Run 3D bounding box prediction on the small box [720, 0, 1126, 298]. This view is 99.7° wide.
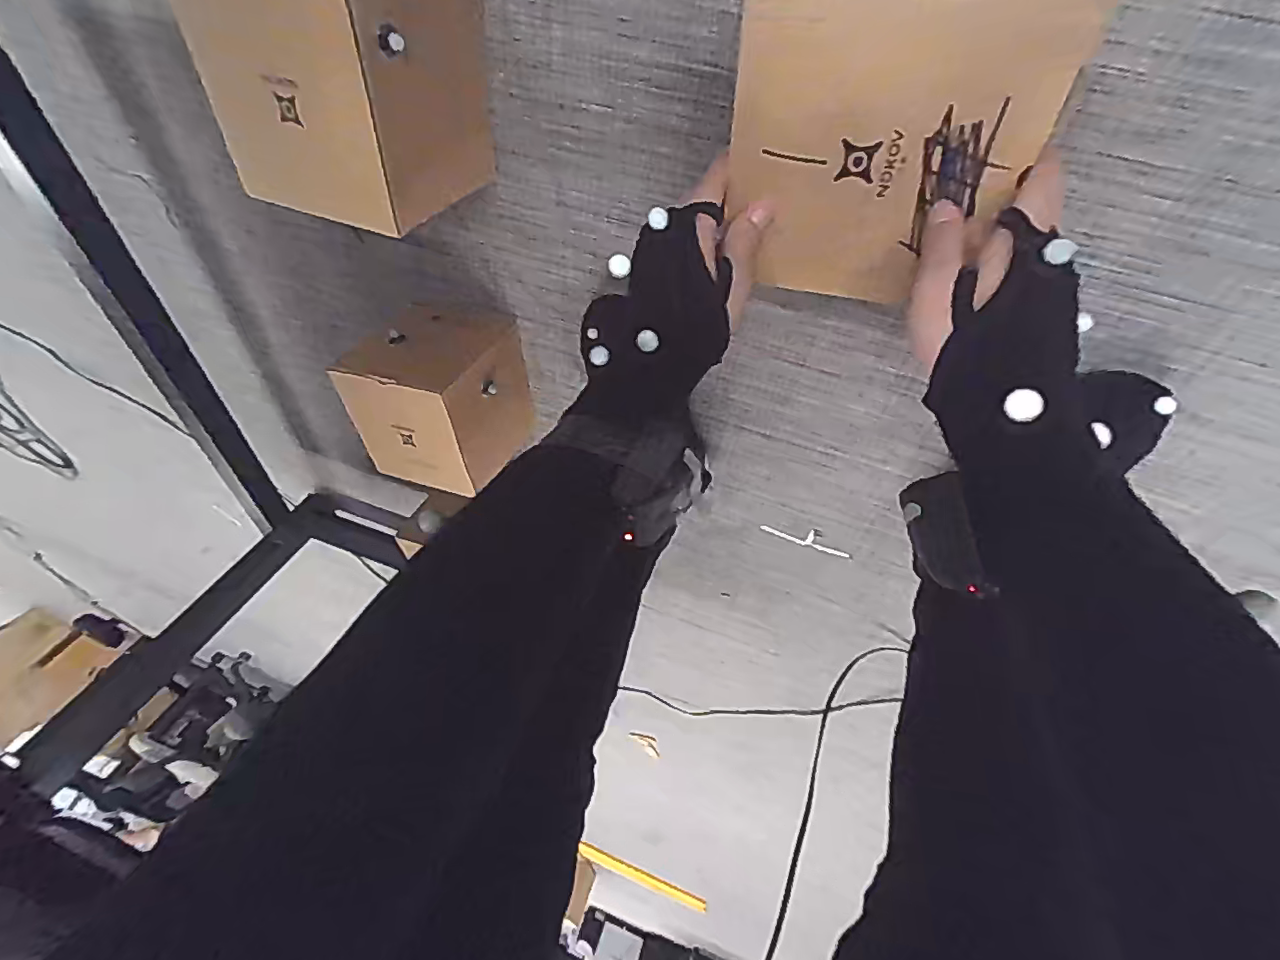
[{"bbox_3d":[0.168,-0.251,0.369,0.179,0.176,0.168,15,137,13],"label":"small box"}]

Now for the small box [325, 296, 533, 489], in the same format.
[{"bbox_3d":[-0.260,-0.121,0.715,0.168,0.176,0.179,14,138,15],"label":"small box"}]

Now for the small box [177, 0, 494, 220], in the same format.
[{"bbox_3d":[-0.241,-0.359,0.466,0.168,0.176,0.179,19,137,9],"label":"small box"}]
